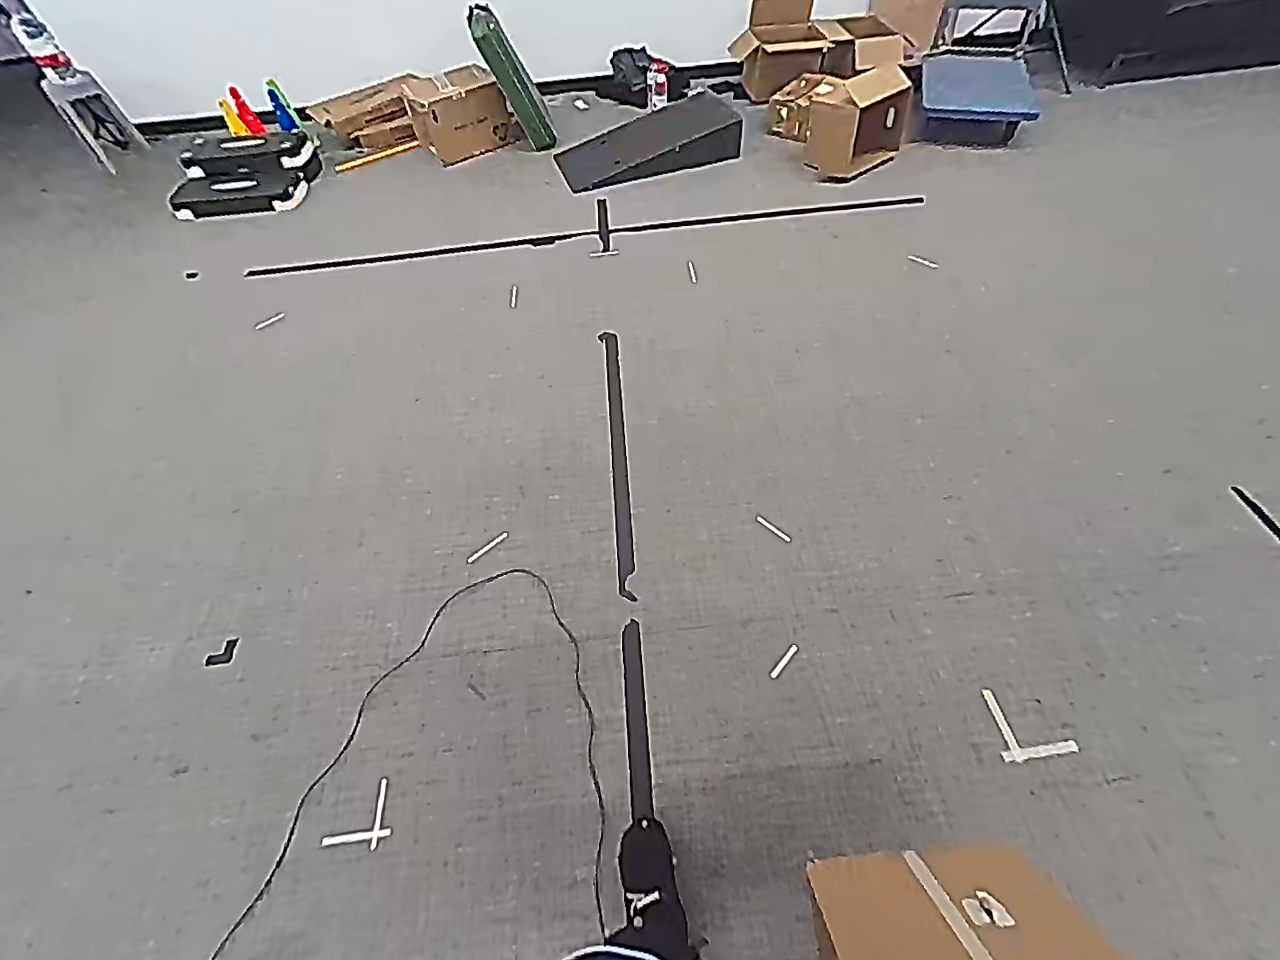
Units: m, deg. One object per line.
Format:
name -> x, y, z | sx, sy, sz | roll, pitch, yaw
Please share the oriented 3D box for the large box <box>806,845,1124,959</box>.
large box -> 0.417, 0.710, 0.623 | 0.320, 0.408, 0.320 | -7, 85, 3
